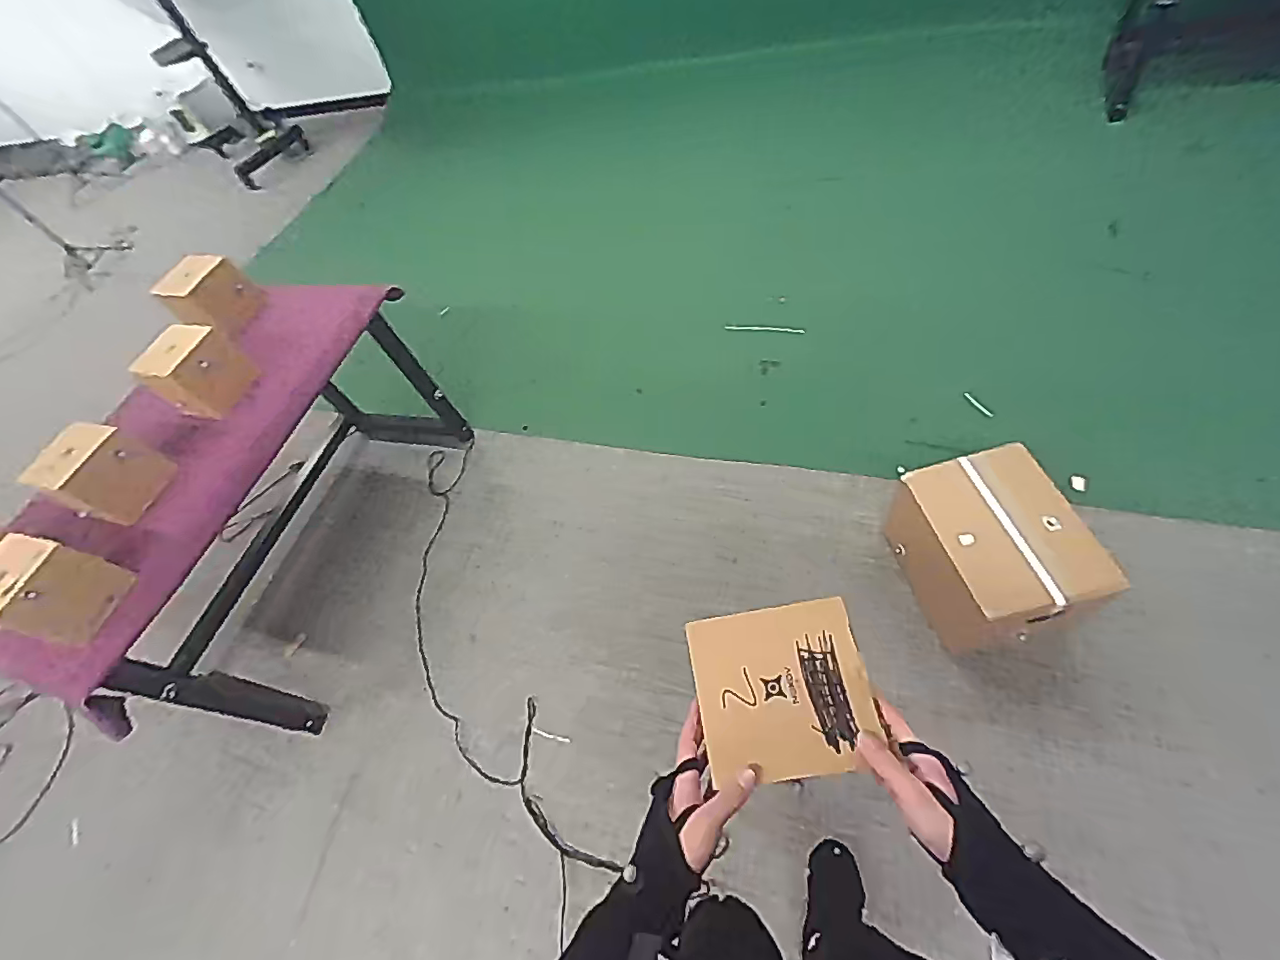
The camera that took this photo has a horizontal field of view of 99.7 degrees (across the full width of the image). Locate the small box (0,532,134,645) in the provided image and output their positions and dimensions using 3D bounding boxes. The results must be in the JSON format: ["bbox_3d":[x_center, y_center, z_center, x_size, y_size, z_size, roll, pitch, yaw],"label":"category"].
[{"bbox_3d":[-1.221,0.226,1.110,0.179,0.176,0.168,6,60,19],"label":"small box"}]

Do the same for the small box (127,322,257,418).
[{"bbox_3d":[-1.174,-0.292,1.438,0.168,0.176,0.179,9,62,19],"label":"small box"}]

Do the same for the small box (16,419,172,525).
[{"bbox_3d":[-1.275,-0.018,1.284,0.168,0.176,0.179,8,60,20],"label":"small box"}]

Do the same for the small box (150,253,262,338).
[{"bbox_3d":[-1.298,-0.560,1.637,0.168,0.176,0.179,10,62,19],"label":"small box"}]
